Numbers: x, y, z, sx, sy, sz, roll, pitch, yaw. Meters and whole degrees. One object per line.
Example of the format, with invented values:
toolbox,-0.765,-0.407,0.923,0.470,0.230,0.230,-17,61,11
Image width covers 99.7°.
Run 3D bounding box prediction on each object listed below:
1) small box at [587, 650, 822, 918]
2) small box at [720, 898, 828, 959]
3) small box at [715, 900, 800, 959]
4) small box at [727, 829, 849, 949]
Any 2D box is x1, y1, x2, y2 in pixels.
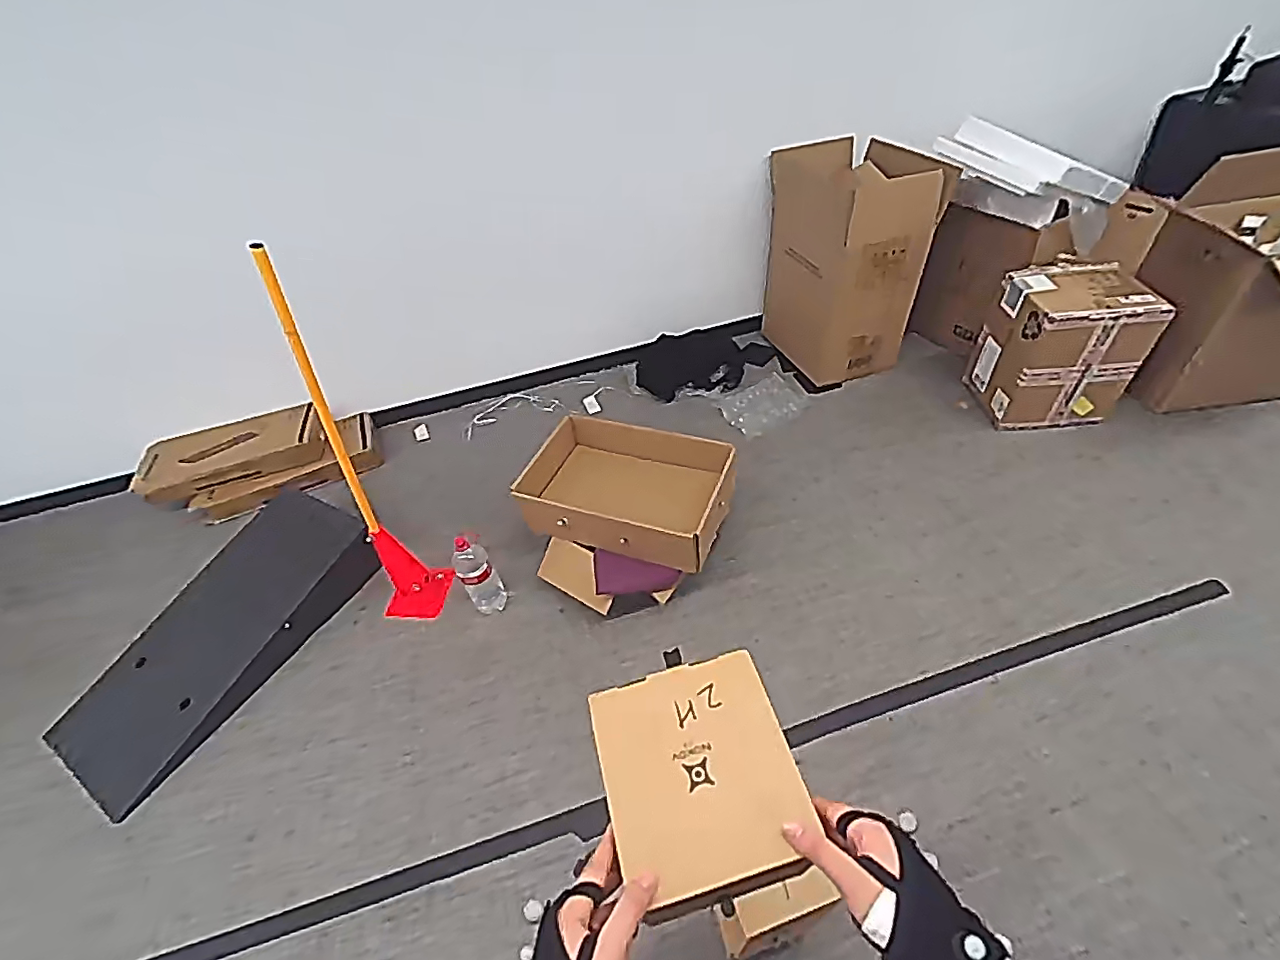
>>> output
small box,0.057,0.302,0.533,0.168,0.176,0.179,-15,47,-6
small box,0.230,0.756,1.013,0.168,0.176,0.179,-17,43,-8
small box,0.247,0.872,1.128,0.179,0.176,0.168,-16,44,-6
small box,0.216,0.637,0.900,0.168,0.176,0.179,-17,45,-8
